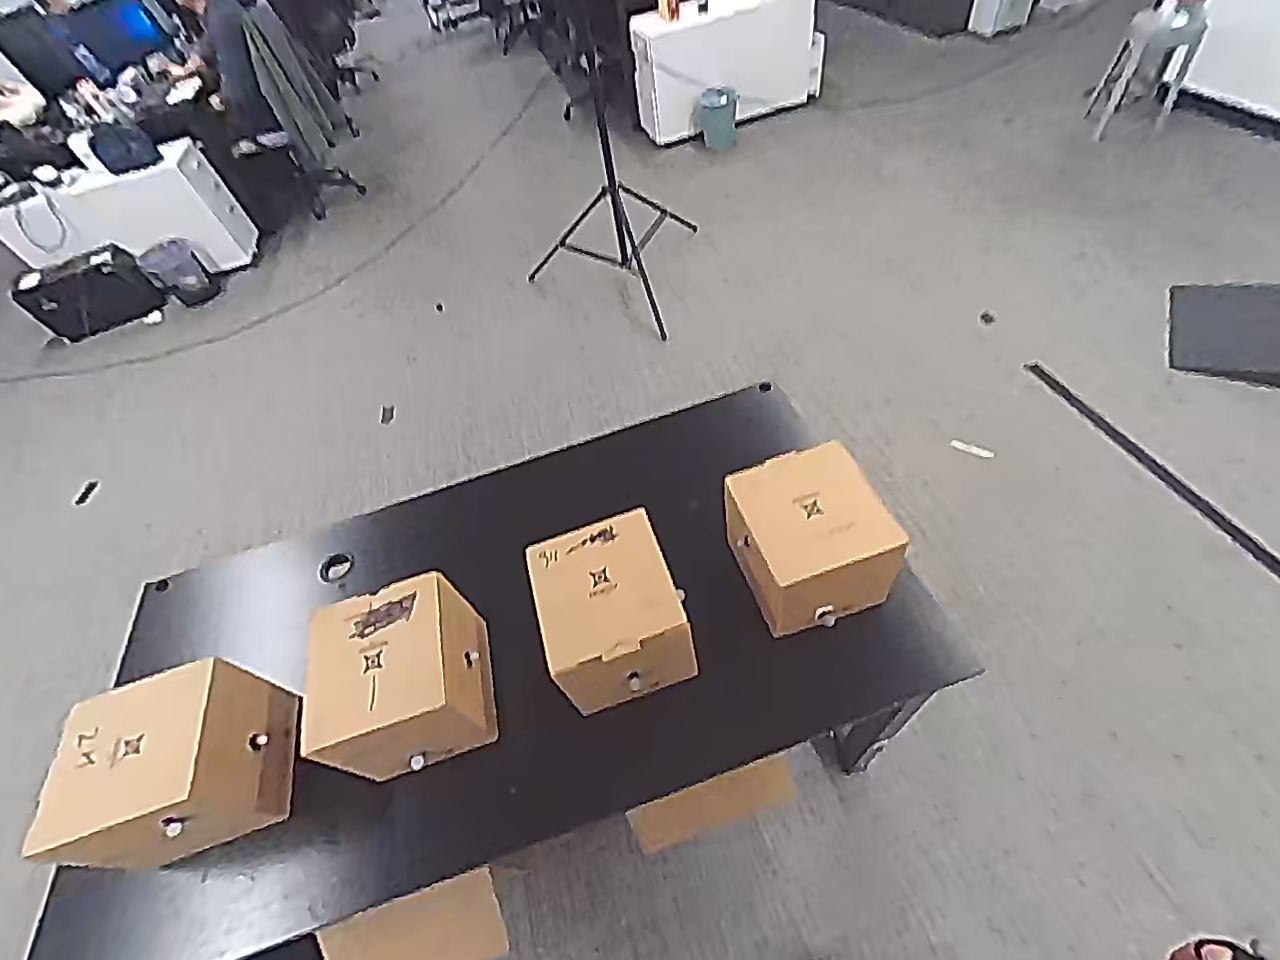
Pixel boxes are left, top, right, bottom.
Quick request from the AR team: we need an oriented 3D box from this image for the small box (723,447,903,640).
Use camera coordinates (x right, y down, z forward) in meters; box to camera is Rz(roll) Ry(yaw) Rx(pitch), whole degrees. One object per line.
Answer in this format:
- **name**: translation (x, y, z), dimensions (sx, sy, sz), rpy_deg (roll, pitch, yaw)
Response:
- **small box**: translation (0.222, 0.090, 0.744), dimensions (0.168, 0.176, 0.179), rpy_deg (-19, 52, -3)

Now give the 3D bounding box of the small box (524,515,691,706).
- **small box**: translation (-0.038, 0.182, 0.720), dimensions (0.168, 0.176, 0.179), rpy_deg (-19, 52, -4)

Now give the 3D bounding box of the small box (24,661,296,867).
- **small box**: translation (-0.569, 0.358, 0.677), dimensions (0.179, 0.176, 0.168), rpy_deg (-19, 51, -5)

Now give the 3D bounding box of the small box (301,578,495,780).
- **small box**: translation (-0.302, 0.262, 0.706), dimensions (0.168, 0.176, 0.179), rpy_deg (-18, 52, -4)
